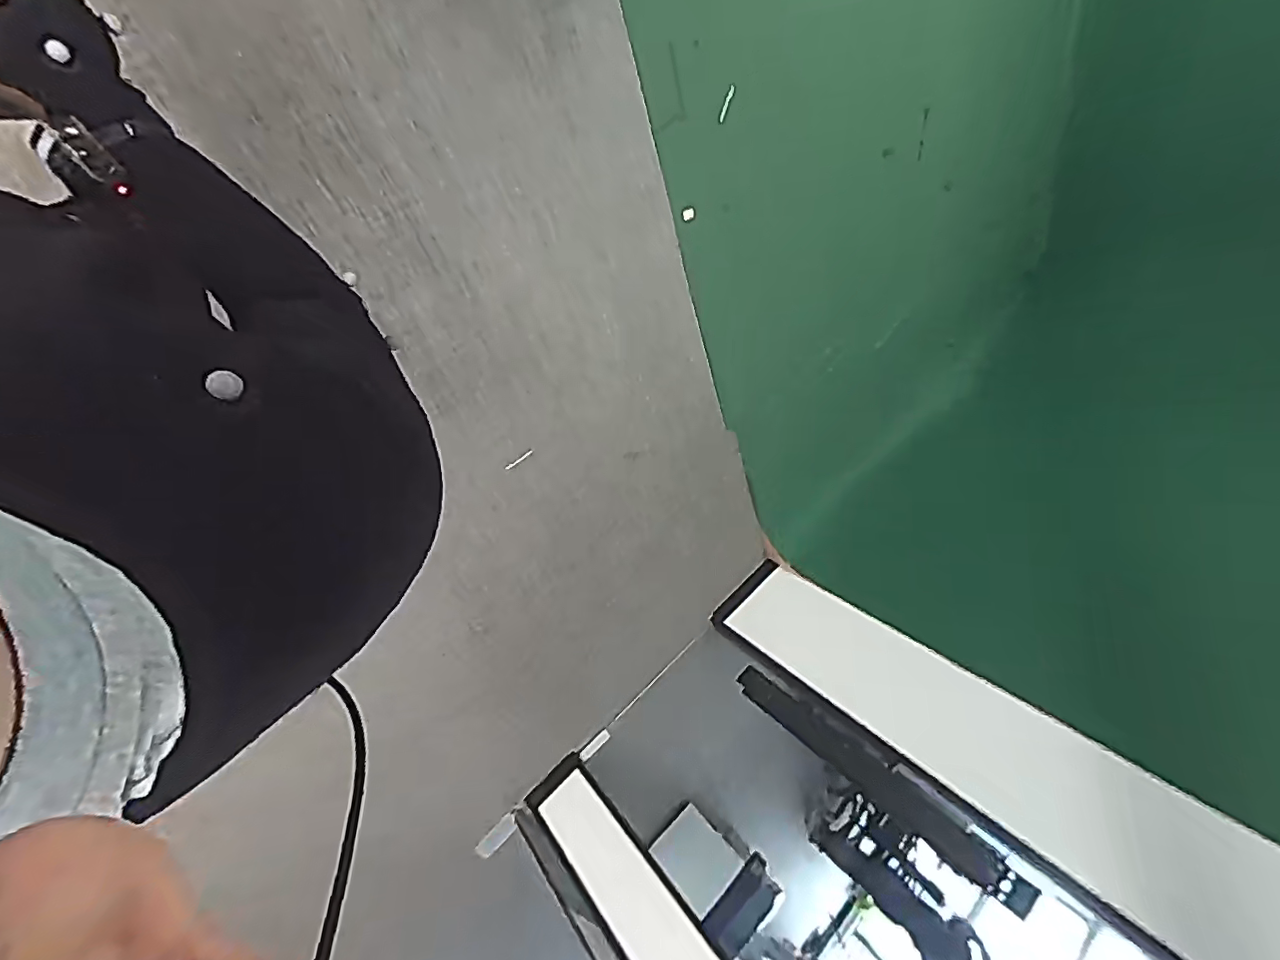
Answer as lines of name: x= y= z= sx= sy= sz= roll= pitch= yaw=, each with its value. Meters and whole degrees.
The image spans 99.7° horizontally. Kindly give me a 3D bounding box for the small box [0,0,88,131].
small box: x=-0.614 y=-0.414 z=0.440 sx=0.168 sy=0.176 sz=0.179 roll=-22 pitch=99 yaw=-28
